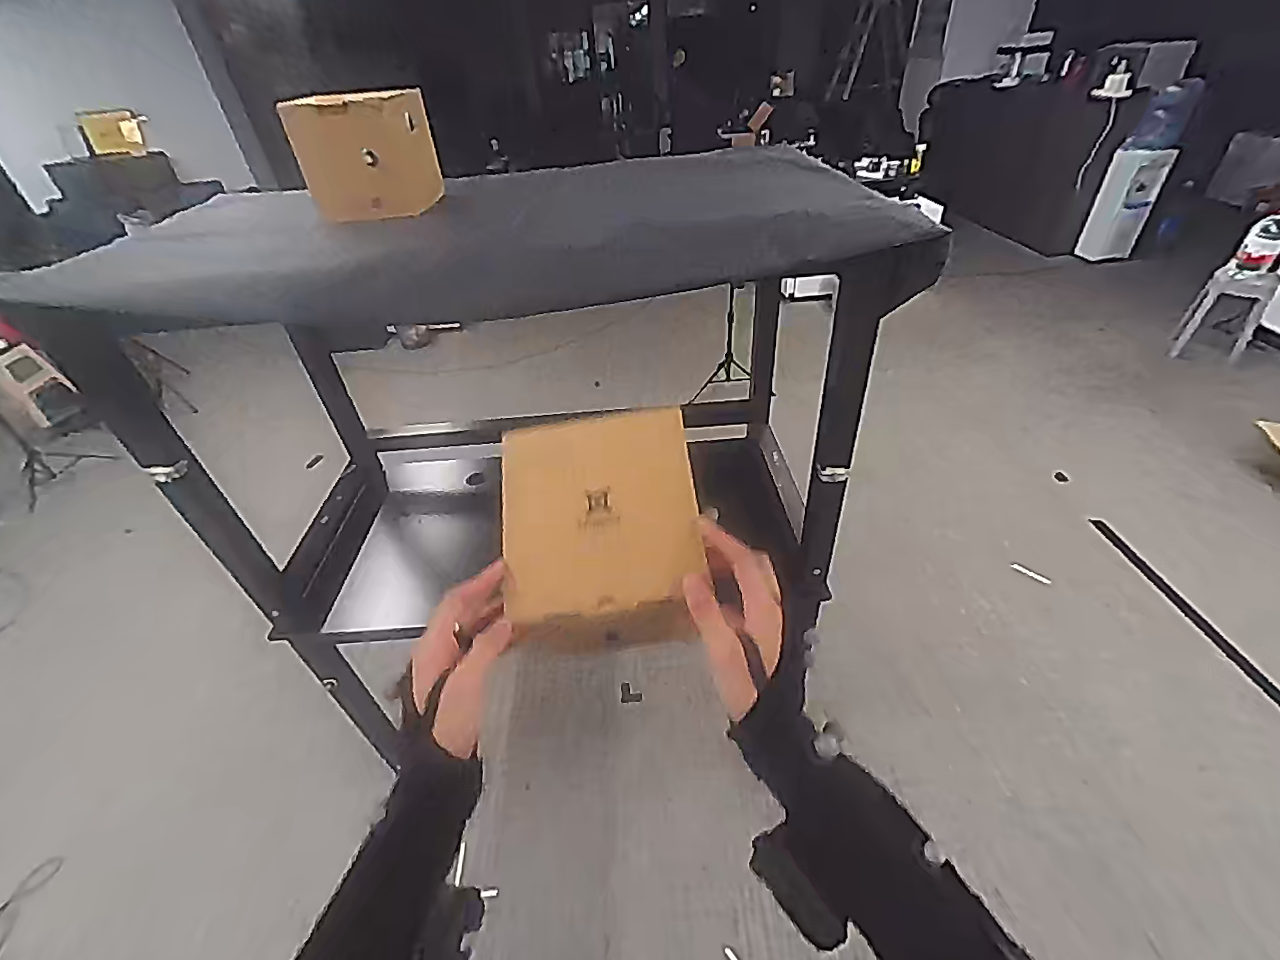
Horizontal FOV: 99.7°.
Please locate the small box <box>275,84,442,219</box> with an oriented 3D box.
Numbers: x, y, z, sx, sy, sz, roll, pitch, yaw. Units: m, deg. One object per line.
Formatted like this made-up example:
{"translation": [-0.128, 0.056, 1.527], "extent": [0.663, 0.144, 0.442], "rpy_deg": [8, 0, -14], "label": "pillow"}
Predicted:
{"translation": [-0.450, -0.545, 0.904], "extent": [0.168, 0.176, 0.179], "rpy_deg": [-2, 40, 2], "label": "small box"}
